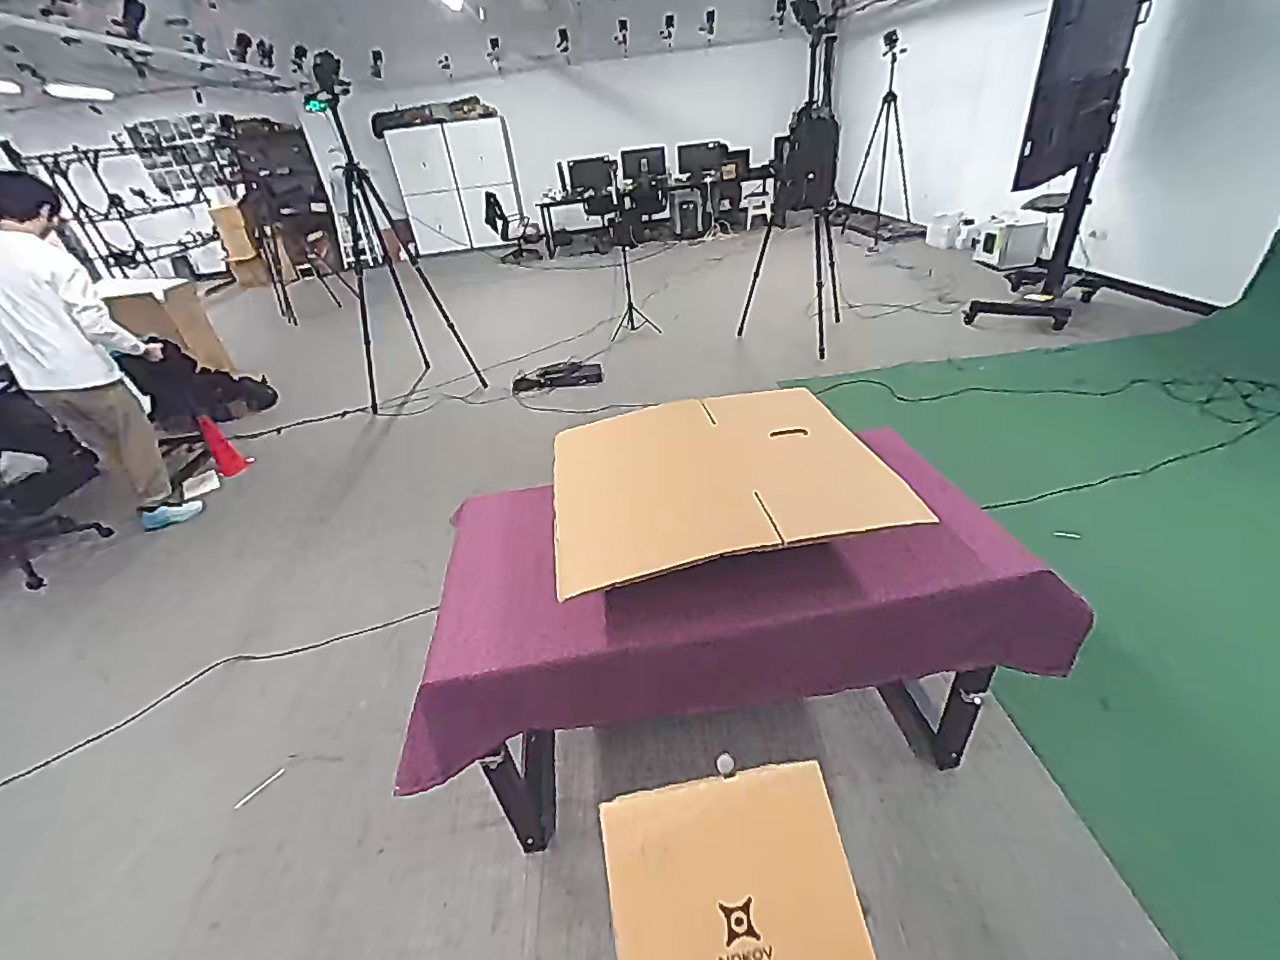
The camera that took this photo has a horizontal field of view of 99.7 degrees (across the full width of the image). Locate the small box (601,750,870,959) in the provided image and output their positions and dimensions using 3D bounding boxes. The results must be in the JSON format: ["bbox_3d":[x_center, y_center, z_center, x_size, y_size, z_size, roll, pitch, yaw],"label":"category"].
[{"bbox_3d":[0.065,0.330,0.436,0.168,0.176,0.179,-10,63,-3],"label":"small box"}]
